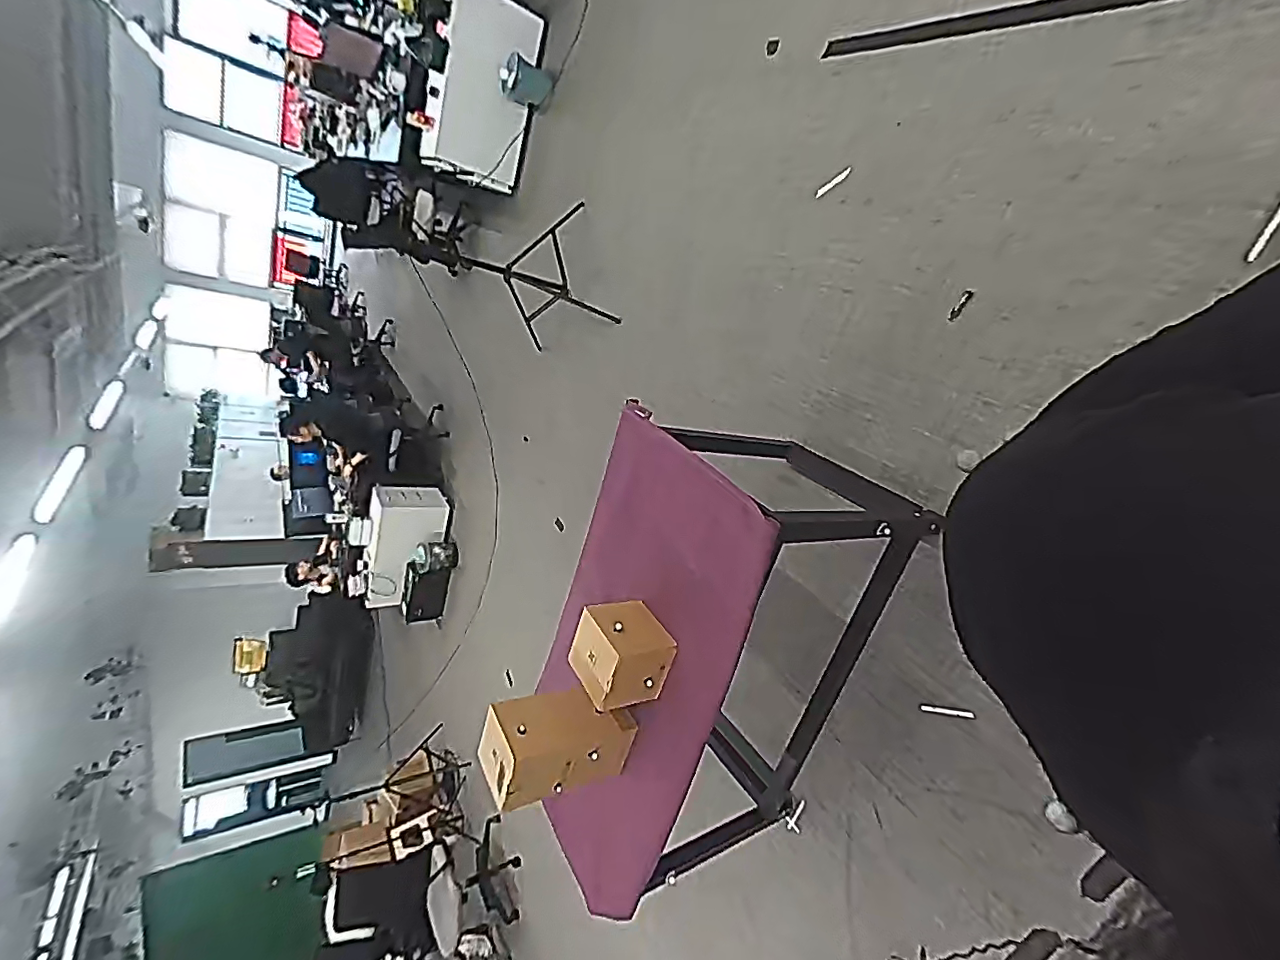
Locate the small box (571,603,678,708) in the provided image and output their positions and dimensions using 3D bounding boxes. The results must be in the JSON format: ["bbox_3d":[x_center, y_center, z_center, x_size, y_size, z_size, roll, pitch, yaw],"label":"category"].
[{"bbox_3d":[-0.039,0.410,1.296,0.179,0.176,0.168,42,121,47],"label":"small box"}]

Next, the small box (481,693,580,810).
[{"bbox_3d":[-0.264,0.646,1.311,0.179,0.176,0.168,40,119,48],"label":"small box"}]

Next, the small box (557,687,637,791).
[{"bbox_3d":[-0.128,0.656,1.403,0.168,0.176,0.179,42,121,47],"label":"small box"}]
